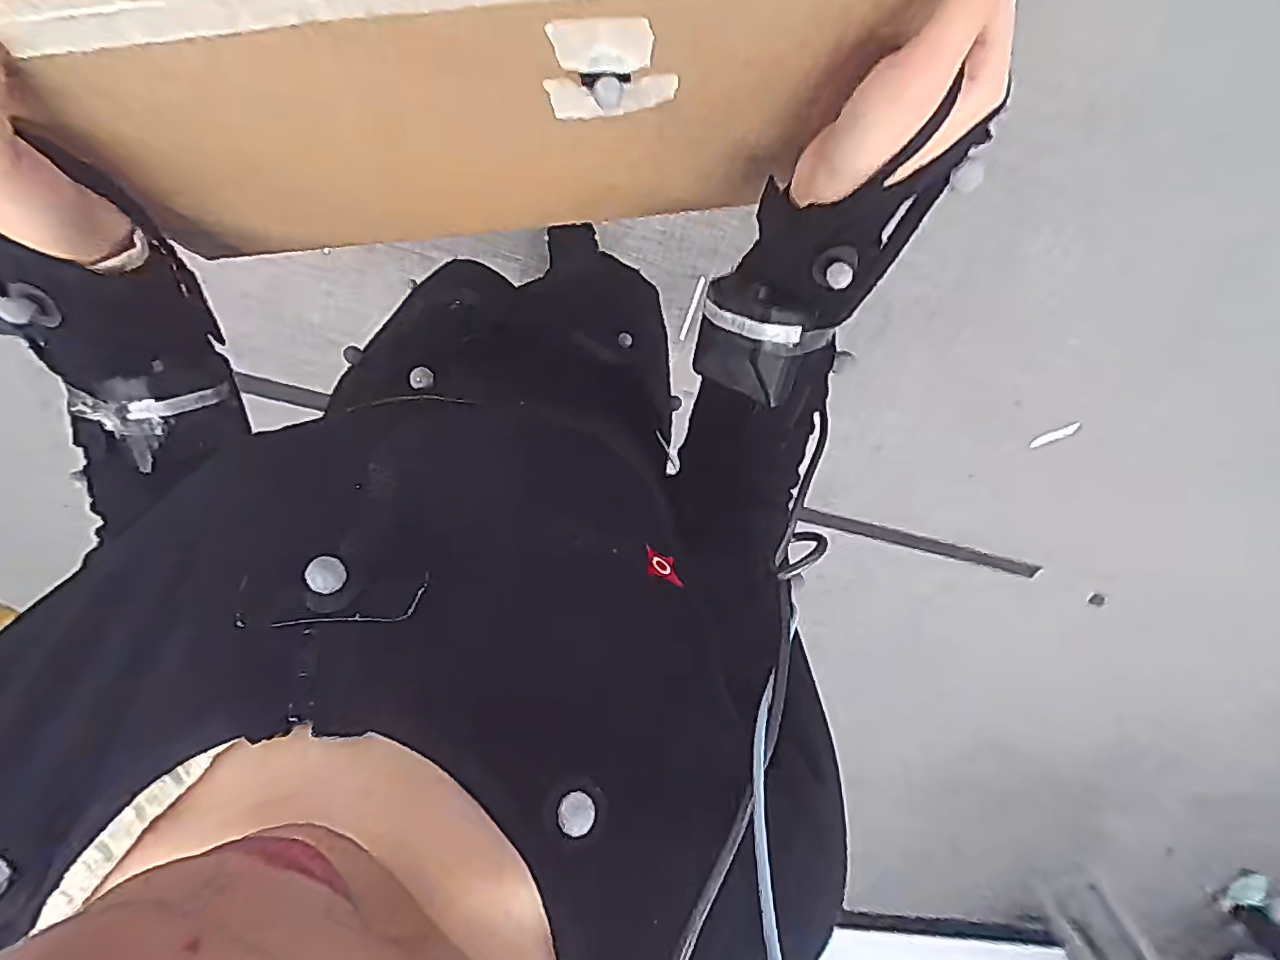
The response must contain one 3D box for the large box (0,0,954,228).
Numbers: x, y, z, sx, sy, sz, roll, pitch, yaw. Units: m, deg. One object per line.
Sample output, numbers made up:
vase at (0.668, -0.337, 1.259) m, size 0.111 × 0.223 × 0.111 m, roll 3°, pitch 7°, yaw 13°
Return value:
large box at (-0.082, -0.340, 0.191) m, size 0.408 × 0.320 × 0.320 m, roll -6°, pitch 83°, yaw 1°
